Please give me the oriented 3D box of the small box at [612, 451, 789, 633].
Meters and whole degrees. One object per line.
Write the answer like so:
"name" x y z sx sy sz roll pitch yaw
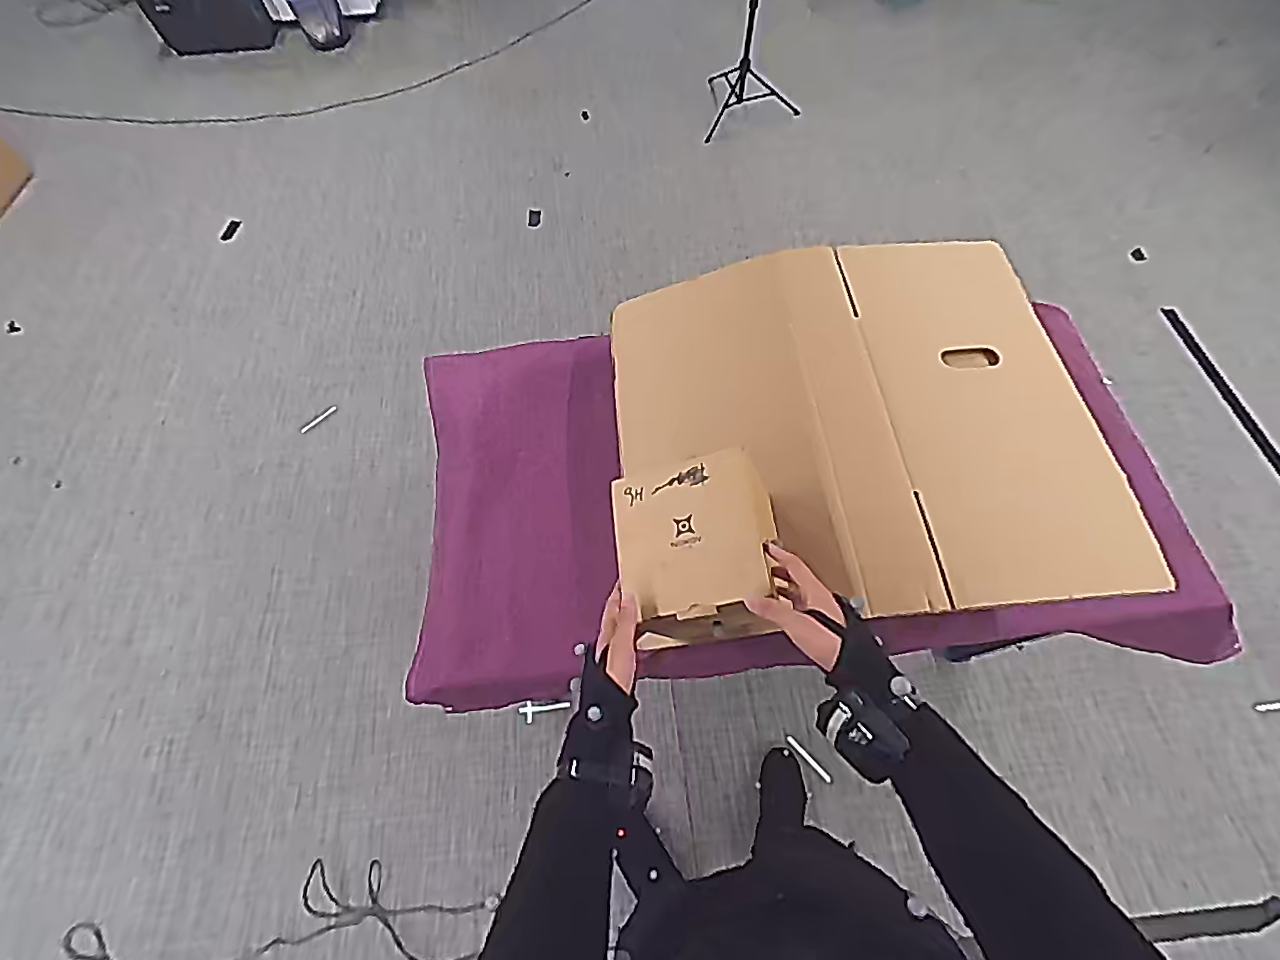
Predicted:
"small box" 0.079 0.090 0.673 0.168 0.176 0.179 -15 65 18
